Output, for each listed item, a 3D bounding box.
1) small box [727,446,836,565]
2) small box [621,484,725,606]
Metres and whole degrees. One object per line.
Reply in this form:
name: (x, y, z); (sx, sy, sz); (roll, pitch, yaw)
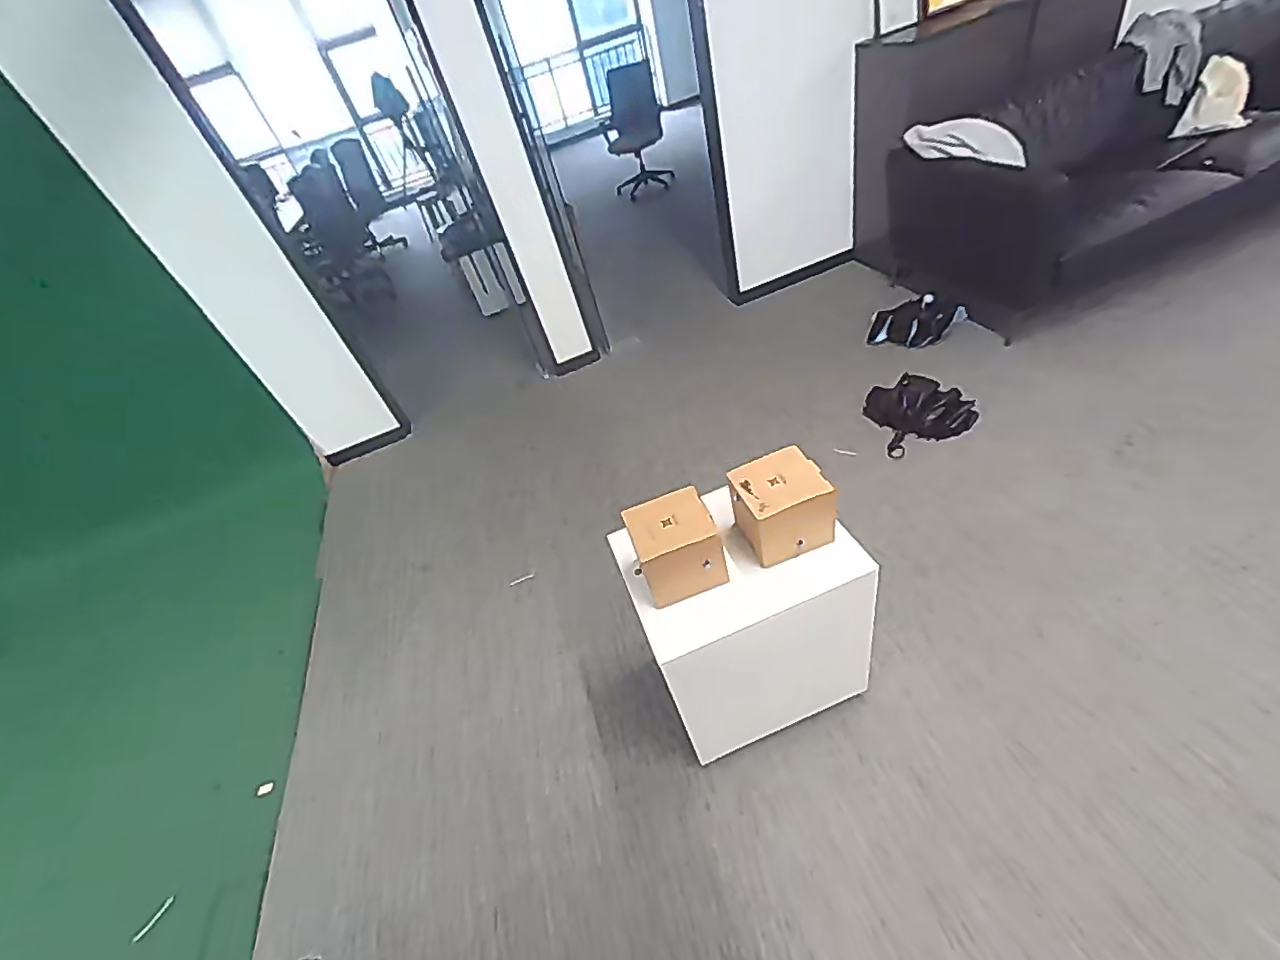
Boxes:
small box: (0.310, 0.058, 1.201); (0.179, 0.176, 0.168); (-20, 42, -4)
small box: (0.077, 0.143, 1.187); (0.179, 0.176, 0.168); (-21, 41, -4)
